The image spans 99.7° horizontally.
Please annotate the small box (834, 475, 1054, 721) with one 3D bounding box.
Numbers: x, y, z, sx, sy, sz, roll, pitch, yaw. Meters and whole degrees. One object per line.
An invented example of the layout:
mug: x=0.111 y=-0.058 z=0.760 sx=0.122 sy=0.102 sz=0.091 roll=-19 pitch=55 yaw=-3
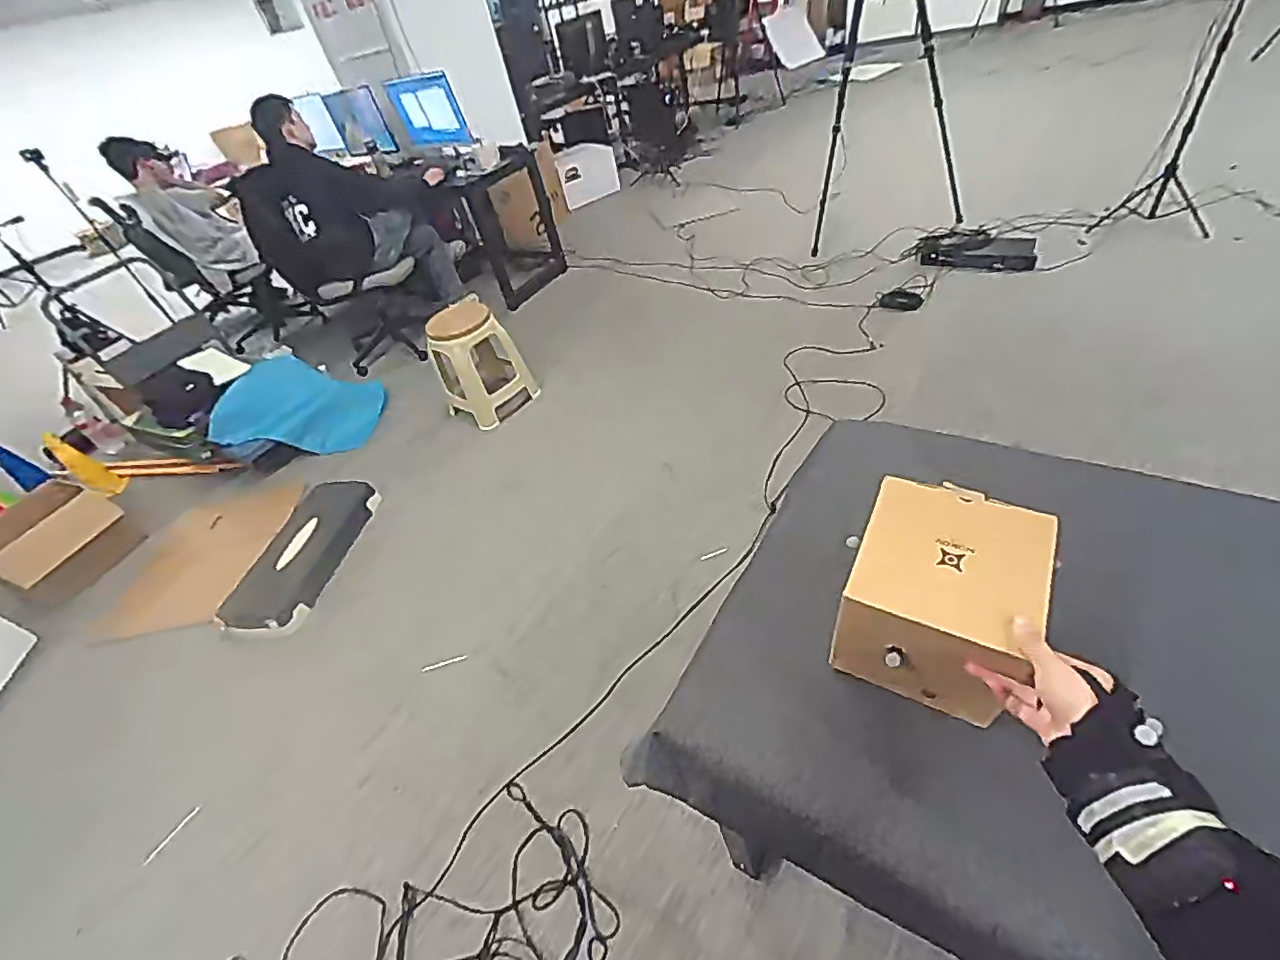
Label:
small box: x=0.319 y=0.127 z=0.589 sx=0.168 sy=0.176 sz=0.179 roll=17 pitch=52 yaw=27
